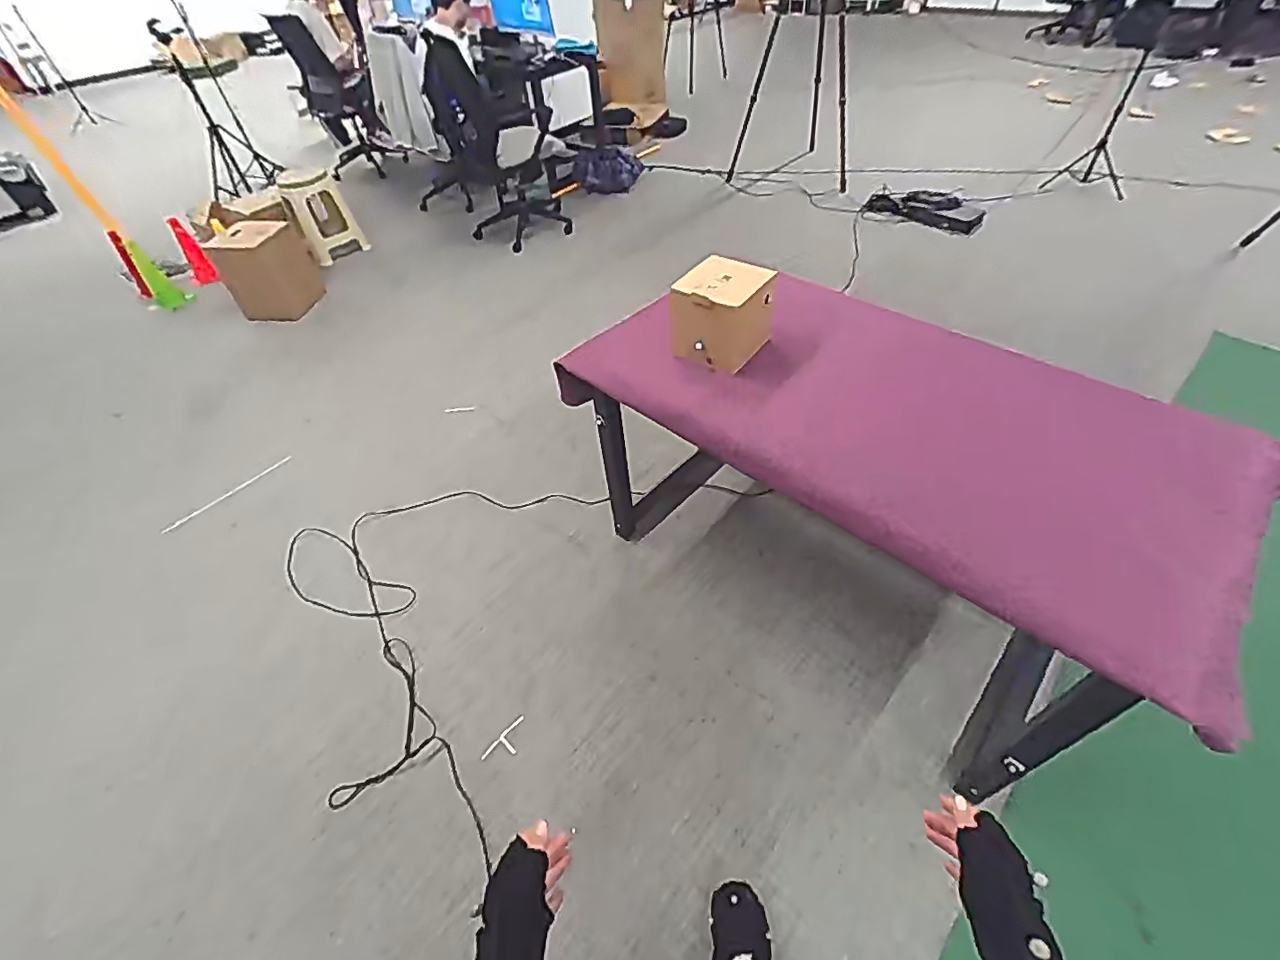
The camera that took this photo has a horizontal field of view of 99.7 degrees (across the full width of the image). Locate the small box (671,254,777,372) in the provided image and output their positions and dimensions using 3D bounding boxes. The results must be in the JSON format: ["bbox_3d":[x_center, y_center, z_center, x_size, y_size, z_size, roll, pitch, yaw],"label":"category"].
[{"bbox_3d":[0.183,-0.370,1.200,0.168,0.176,0.179,27,56,27],"label":"small box"}]
